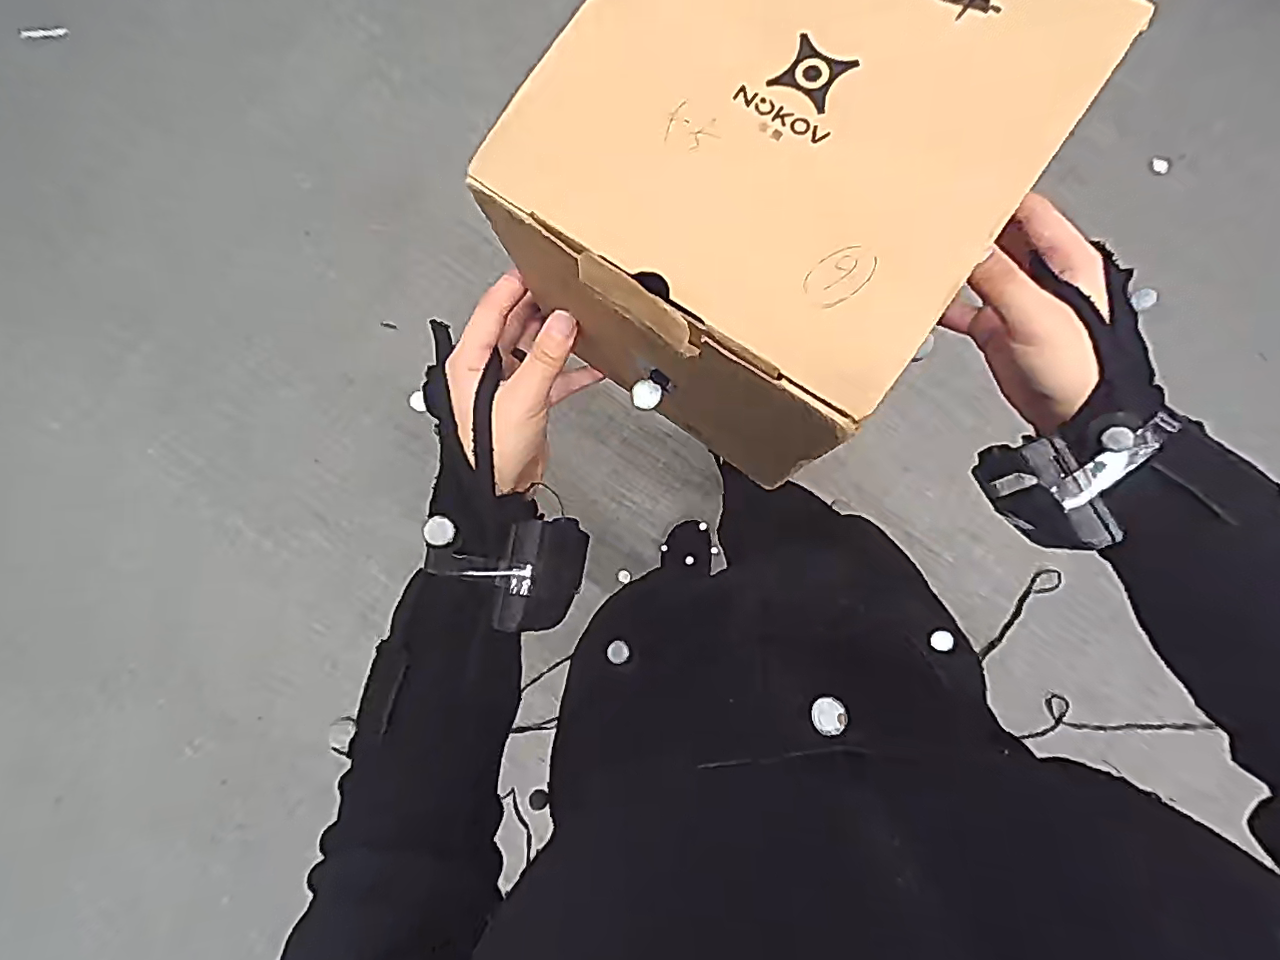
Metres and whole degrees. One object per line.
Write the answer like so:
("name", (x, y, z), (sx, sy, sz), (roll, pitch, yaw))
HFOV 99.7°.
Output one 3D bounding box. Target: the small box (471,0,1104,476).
("small box", (0.056, -0.118, 0.276), (0.168, 0.176, 0.179), (35, 88, 8))
